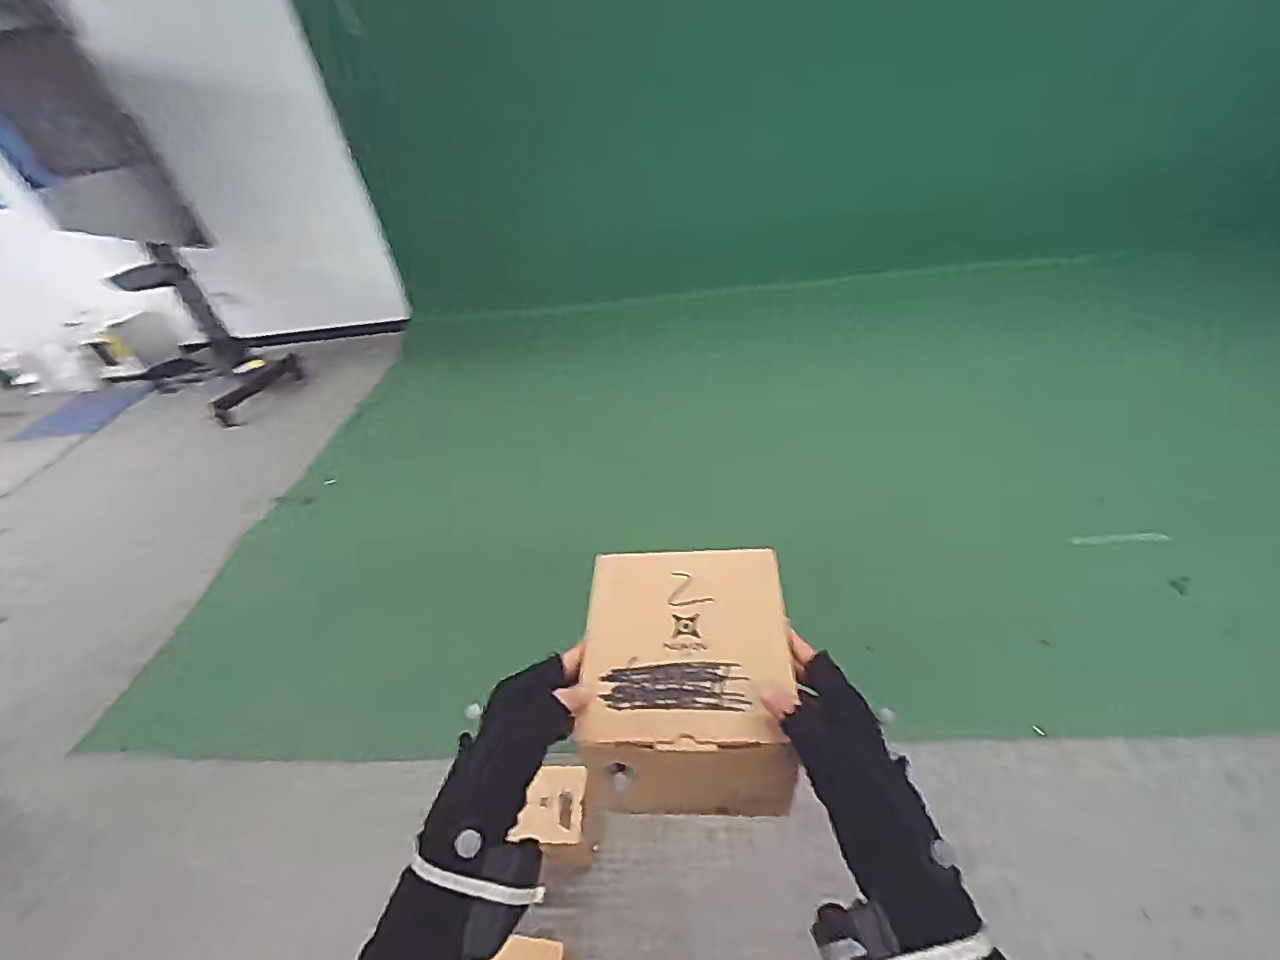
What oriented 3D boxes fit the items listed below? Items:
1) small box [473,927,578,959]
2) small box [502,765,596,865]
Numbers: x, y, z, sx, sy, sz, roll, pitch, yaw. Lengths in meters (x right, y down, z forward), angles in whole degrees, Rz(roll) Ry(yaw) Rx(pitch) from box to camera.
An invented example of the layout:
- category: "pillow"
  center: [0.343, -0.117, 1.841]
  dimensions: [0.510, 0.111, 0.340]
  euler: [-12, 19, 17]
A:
- category: "small box"
  center: [-0.233, 1.011, 1.059]
  dimensions: [0.179, 0.176, 0.168]
  euler: [0, 40, 9]
- category: "small box"
  center: [-0.208, 0.805, 1.301]
  dimensions: [0.179, 0.176, 0.168]
  euler: [-4, 40, 6]
